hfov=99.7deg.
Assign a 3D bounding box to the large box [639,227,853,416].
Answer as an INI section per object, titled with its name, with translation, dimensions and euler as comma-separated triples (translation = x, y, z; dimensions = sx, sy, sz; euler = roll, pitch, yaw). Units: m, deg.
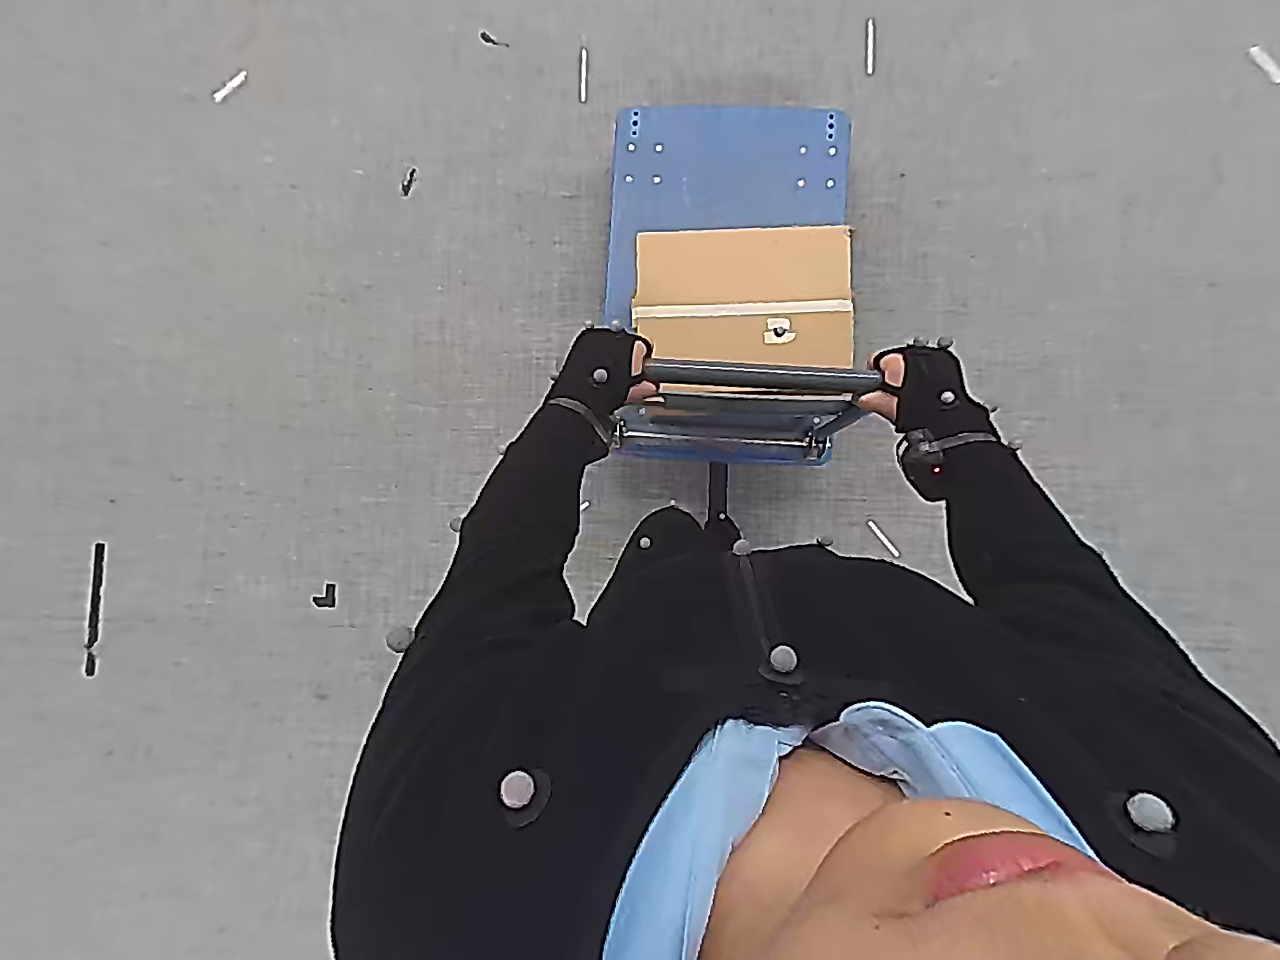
[large box]
translation = 0.207, -0.320, 1.180
dimensions = 0.408, 0.320, 0.320
euler = -1, 89, 3
